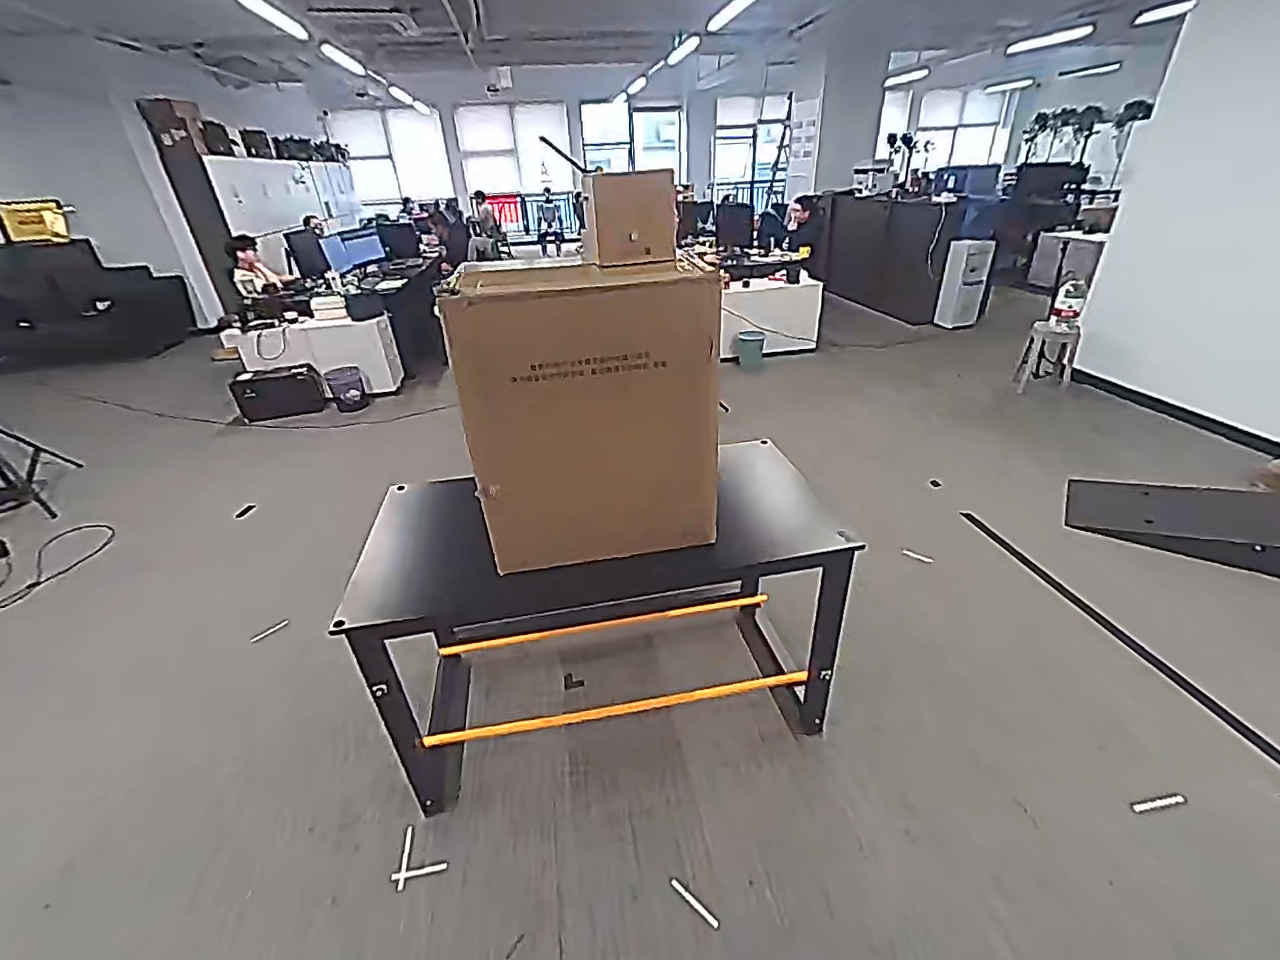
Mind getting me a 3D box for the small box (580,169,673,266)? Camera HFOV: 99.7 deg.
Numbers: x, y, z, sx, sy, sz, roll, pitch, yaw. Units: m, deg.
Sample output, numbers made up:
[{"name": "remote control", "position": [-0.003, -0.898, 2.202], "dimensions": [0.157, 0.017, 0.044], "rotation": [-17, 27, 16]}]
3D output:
[{"name": "small box", "position": [-0.031, -0.554, 1.145], "dimensions": [0.168, 0.176, 0.179], "rotation": [-10, 30, -9]}]
